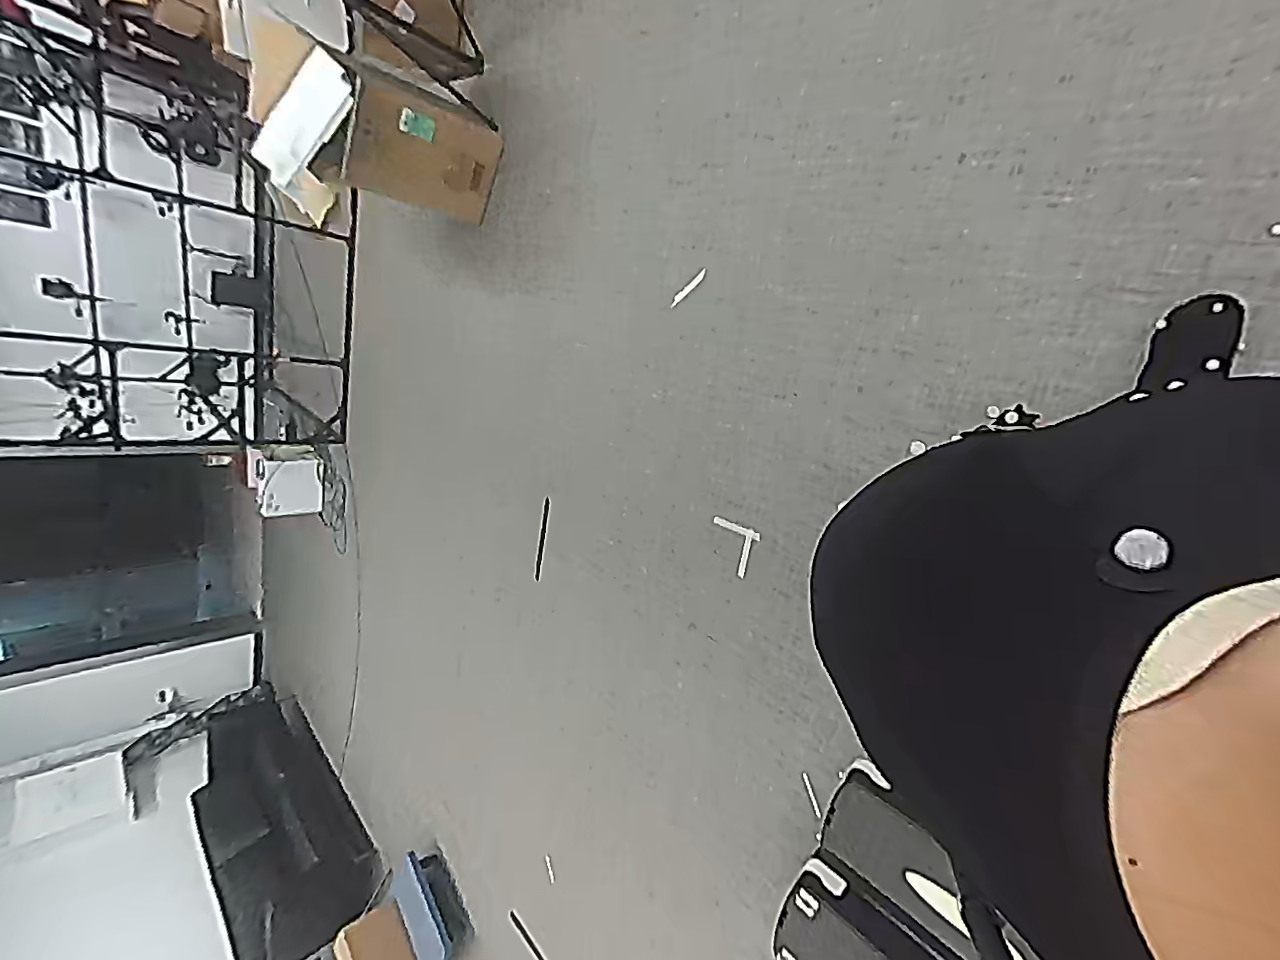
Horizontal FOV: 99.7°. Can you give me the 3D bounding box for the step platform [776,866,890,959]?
[{"bbox_3d":[0.655,1.301,1.249,0.684,0.204,0.286,31,112,40],"label":"step platform"}]
